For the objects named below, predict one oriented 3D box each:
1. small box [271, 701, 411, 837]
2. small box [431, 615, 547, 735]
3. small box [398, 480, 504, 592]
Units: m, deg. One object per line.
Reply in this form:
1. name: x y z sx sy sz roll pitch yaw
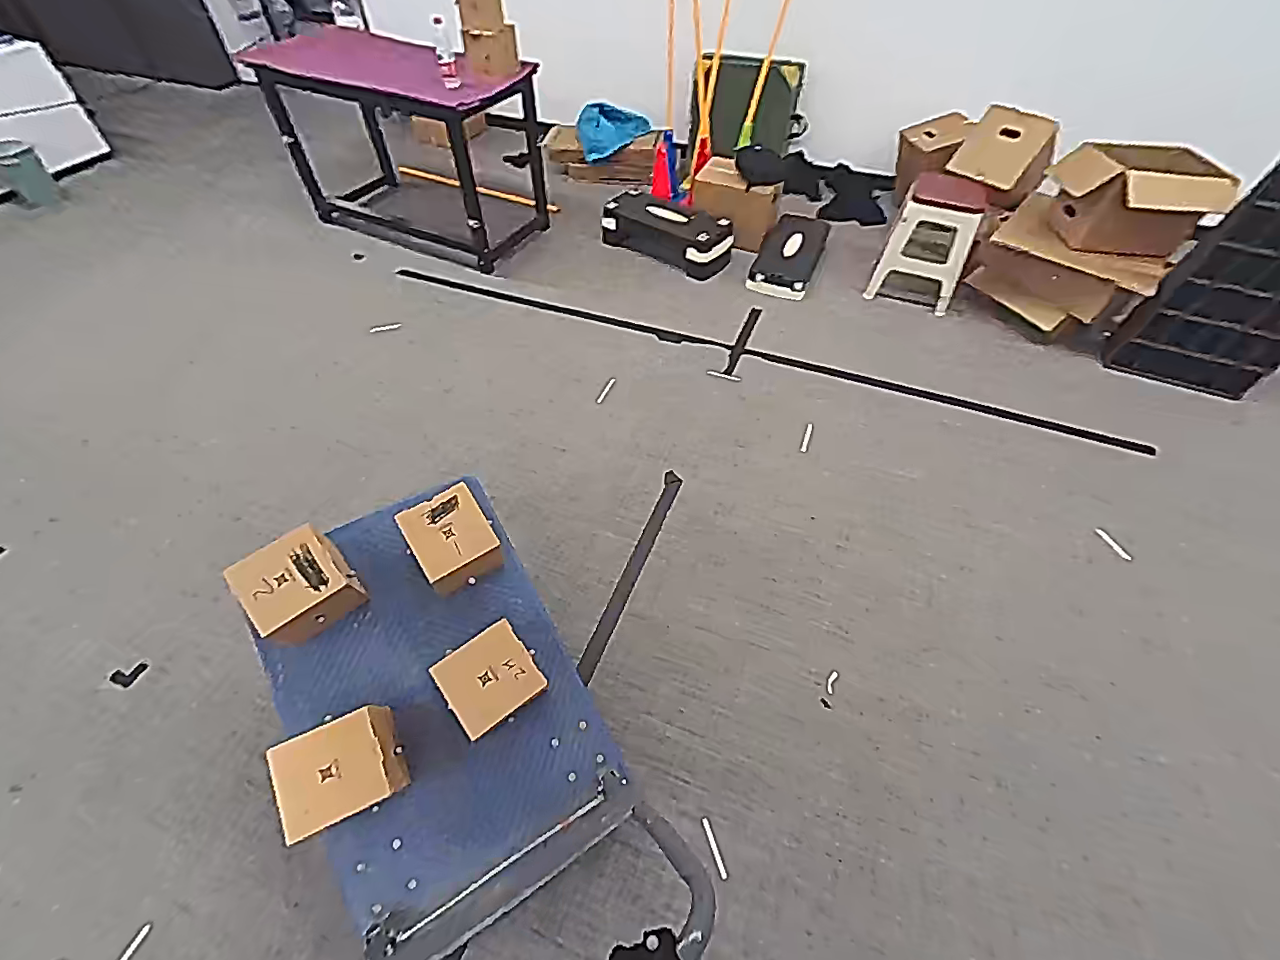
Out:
1. small box: -0.569 0.550 1.047 0.179 0.176 0.168 -21 72 -19
2. small box: -0.312 0.416 1.150 0.179 0.176 0.168 -33 76 -21
3. small box: -0.429 0.134 1.251 0.168 0.176 0.179 -30 76 -20
